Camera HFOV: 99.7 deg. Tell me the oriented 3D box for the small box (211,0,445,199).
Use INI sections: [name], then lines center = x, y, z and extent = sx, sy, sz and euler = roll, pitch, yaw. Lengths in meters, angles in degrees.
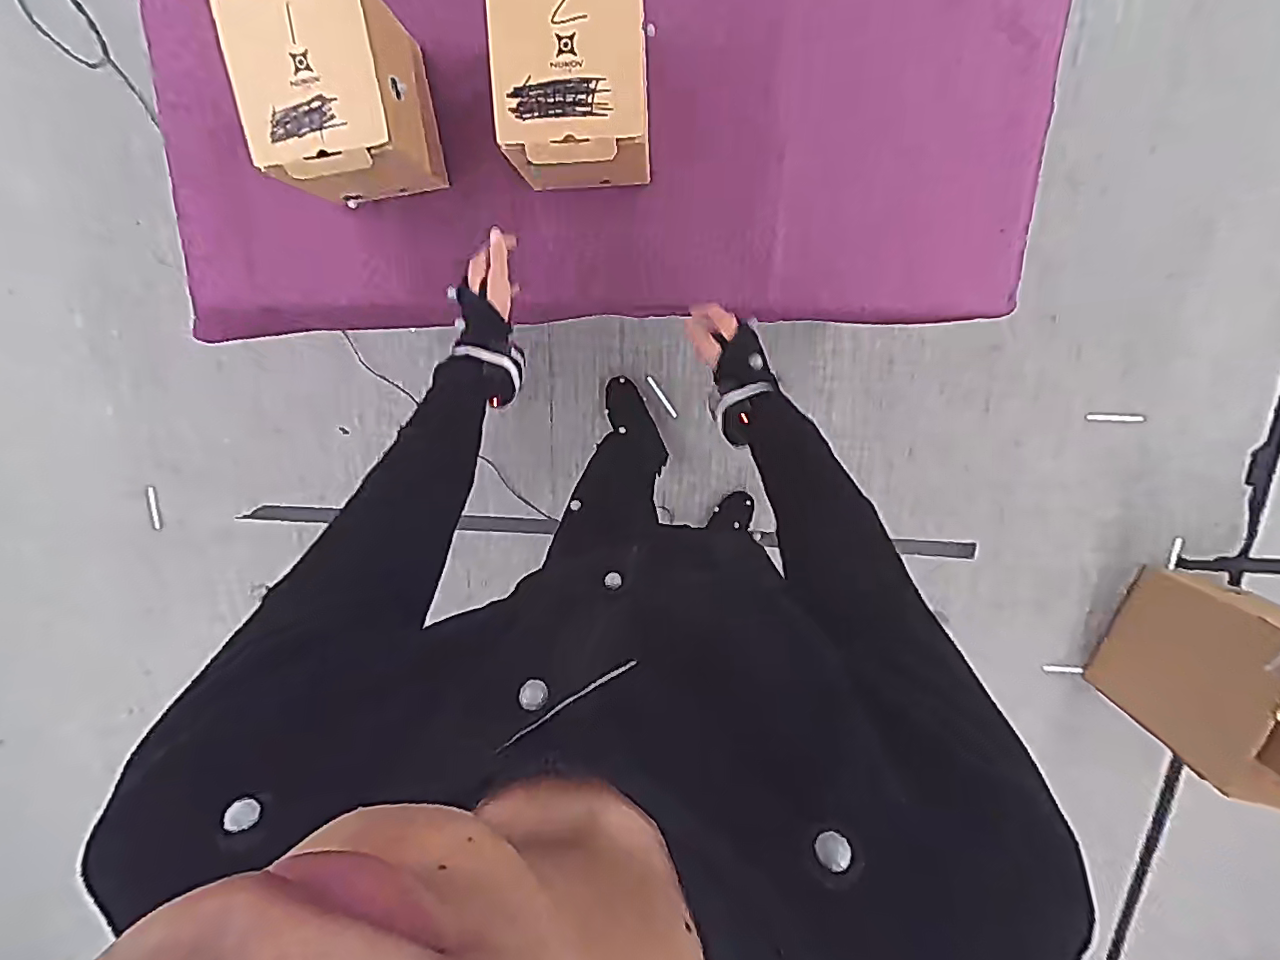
[small box]
center = -0.362, -0.464, 0.666
extent = 0.168, 0.176, 0.179
euler = -8, 103, 4
